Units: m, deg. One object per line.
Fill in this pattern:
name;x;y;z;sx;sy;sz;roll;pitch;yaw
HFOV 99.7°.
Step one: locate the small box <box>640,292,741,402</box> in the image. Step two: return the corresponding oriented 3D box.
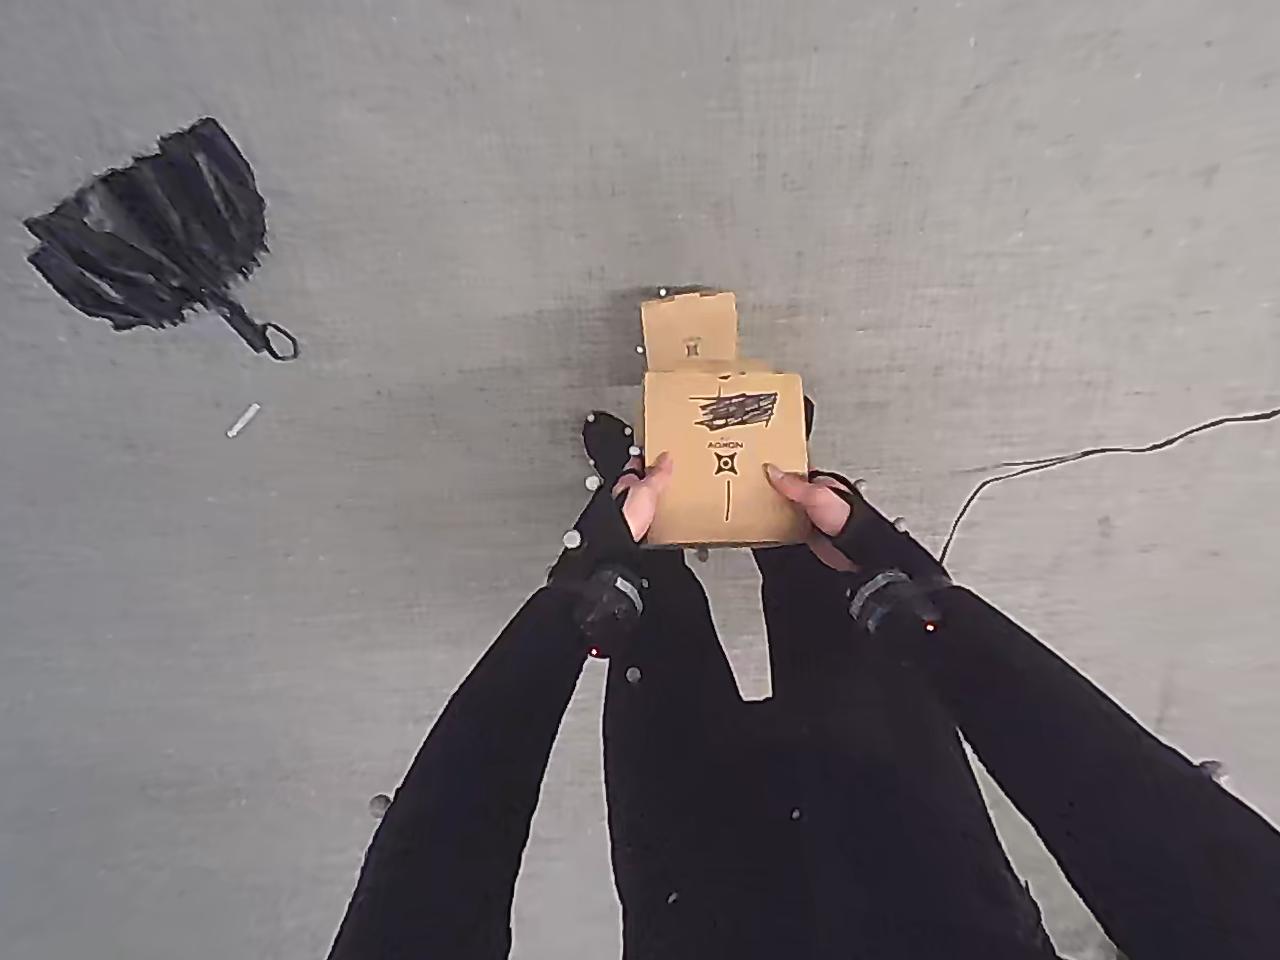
small box;0.091;-0.260;1.033;0.168;0.176;0.179;-8;111;2
